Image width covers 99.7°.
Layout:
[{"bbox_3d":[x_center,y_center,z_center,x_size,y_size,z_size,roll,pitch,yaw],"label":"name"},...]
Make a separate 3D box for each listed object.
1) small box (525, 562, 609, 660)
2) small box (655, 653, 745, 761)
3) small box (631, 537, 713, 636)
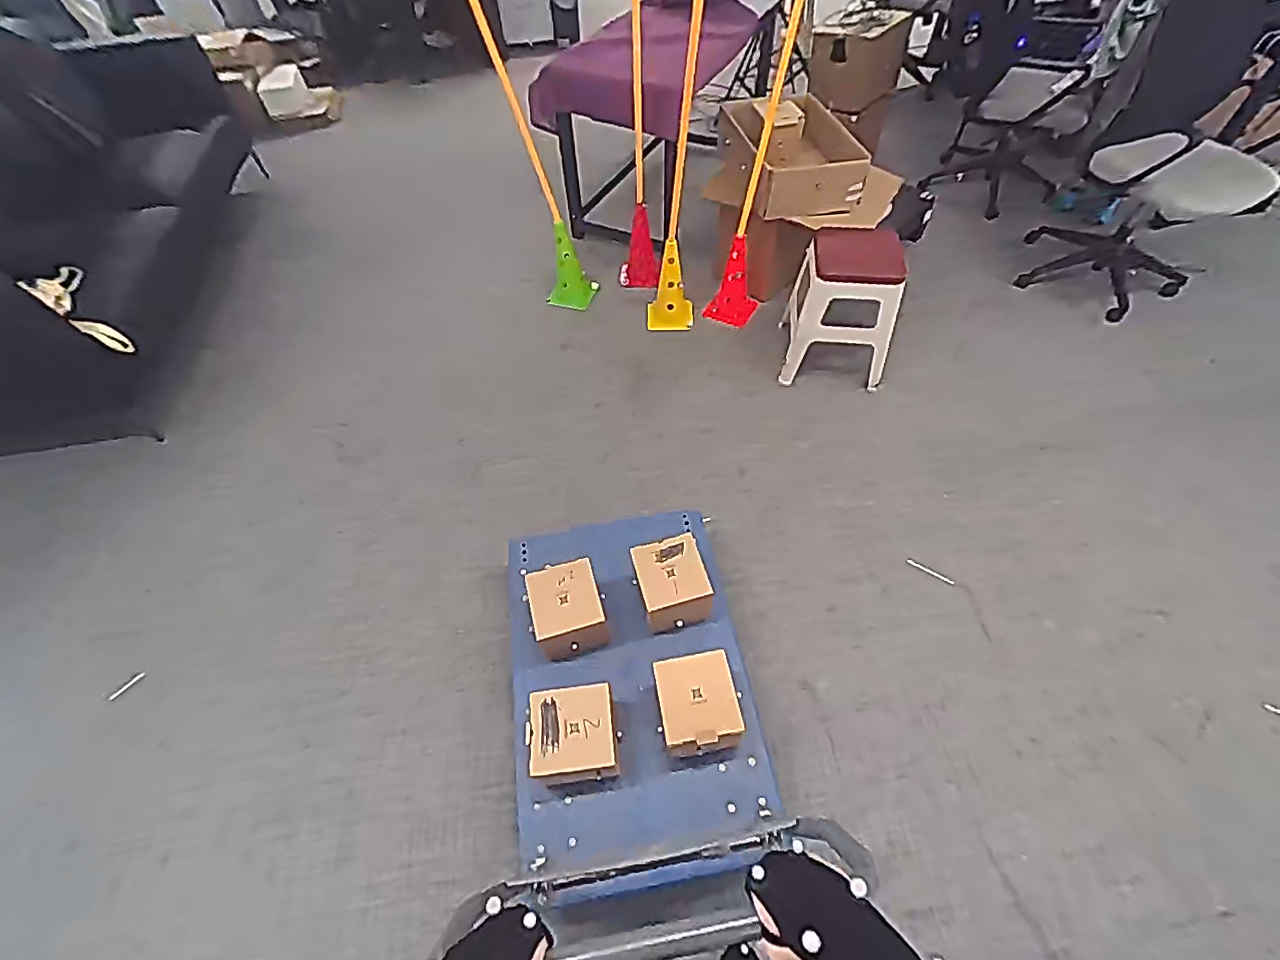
[{"bbox_3d":[-0.180,0.336,1.360,0.168,0.176,0.179,-14,56,-8],"label":"small box"},{"bbox_3d":[0.127,0.516,1.222,0.168,0.176,0.179,-10,56,-4],"label":"small box"},{"bbox_3d":[0.078,0.276,1.389,0.168,0.176,0.179,-14,56,-6],"label":"small box"}]
